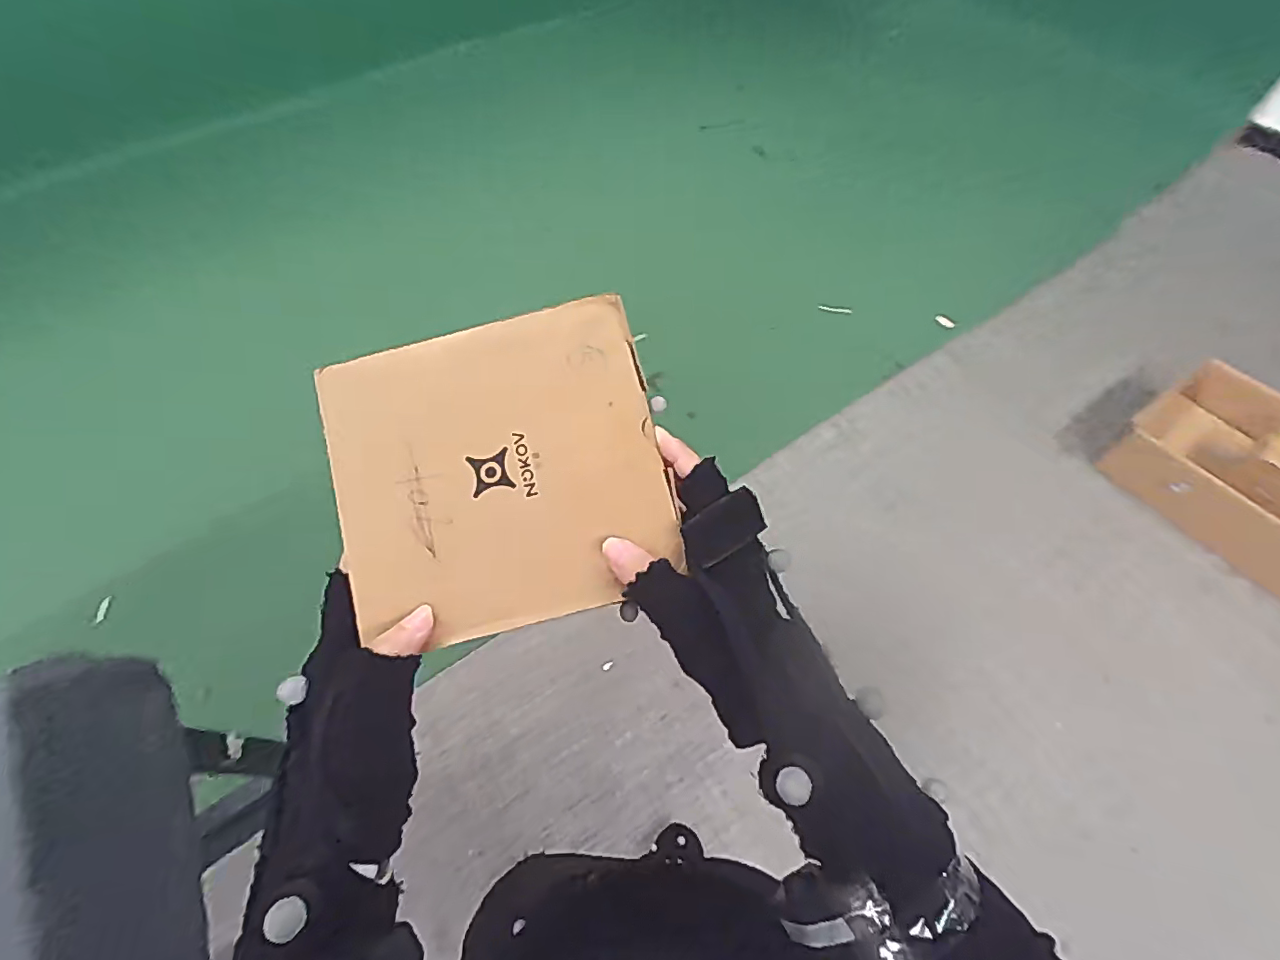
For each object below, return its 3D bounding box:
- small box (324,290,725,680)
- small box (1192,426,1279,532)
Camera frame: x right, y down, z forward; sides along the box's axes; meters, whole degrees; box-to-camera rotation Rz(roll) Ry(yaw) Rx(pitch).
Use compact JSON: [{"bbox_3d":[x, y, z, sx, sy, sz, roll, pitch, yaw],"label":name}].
[{"bbox_3d":[-0.062,0.010,0.358,0.179,0.176,0.168,-18,80,-2],"label":"small box"},{"bbox_3d":[1.614,0.001,1.399,0.168,0.176,0.179,-34,63,-18],"label":"small box"}]
